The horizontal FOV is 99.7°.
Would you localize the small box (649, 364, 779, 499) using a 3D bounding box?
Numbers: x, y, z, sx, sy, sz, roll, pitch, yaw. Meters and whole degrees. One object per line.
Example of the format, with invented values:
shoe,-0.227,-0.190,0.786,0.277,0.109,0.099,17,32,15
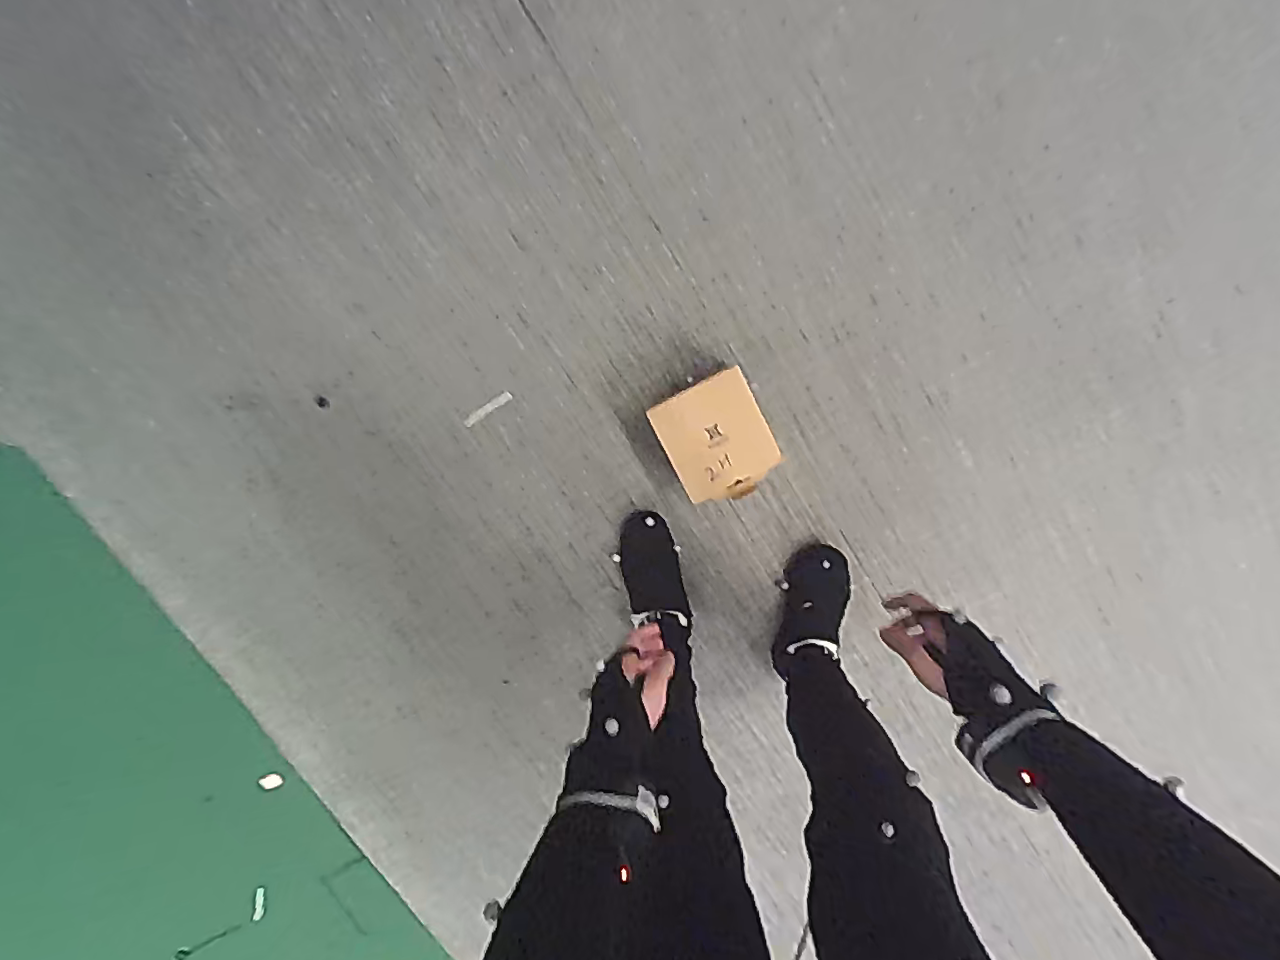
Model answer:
small box,0.125,-0.091,0.937,0.168,0.176,0.179,-20,102,10
